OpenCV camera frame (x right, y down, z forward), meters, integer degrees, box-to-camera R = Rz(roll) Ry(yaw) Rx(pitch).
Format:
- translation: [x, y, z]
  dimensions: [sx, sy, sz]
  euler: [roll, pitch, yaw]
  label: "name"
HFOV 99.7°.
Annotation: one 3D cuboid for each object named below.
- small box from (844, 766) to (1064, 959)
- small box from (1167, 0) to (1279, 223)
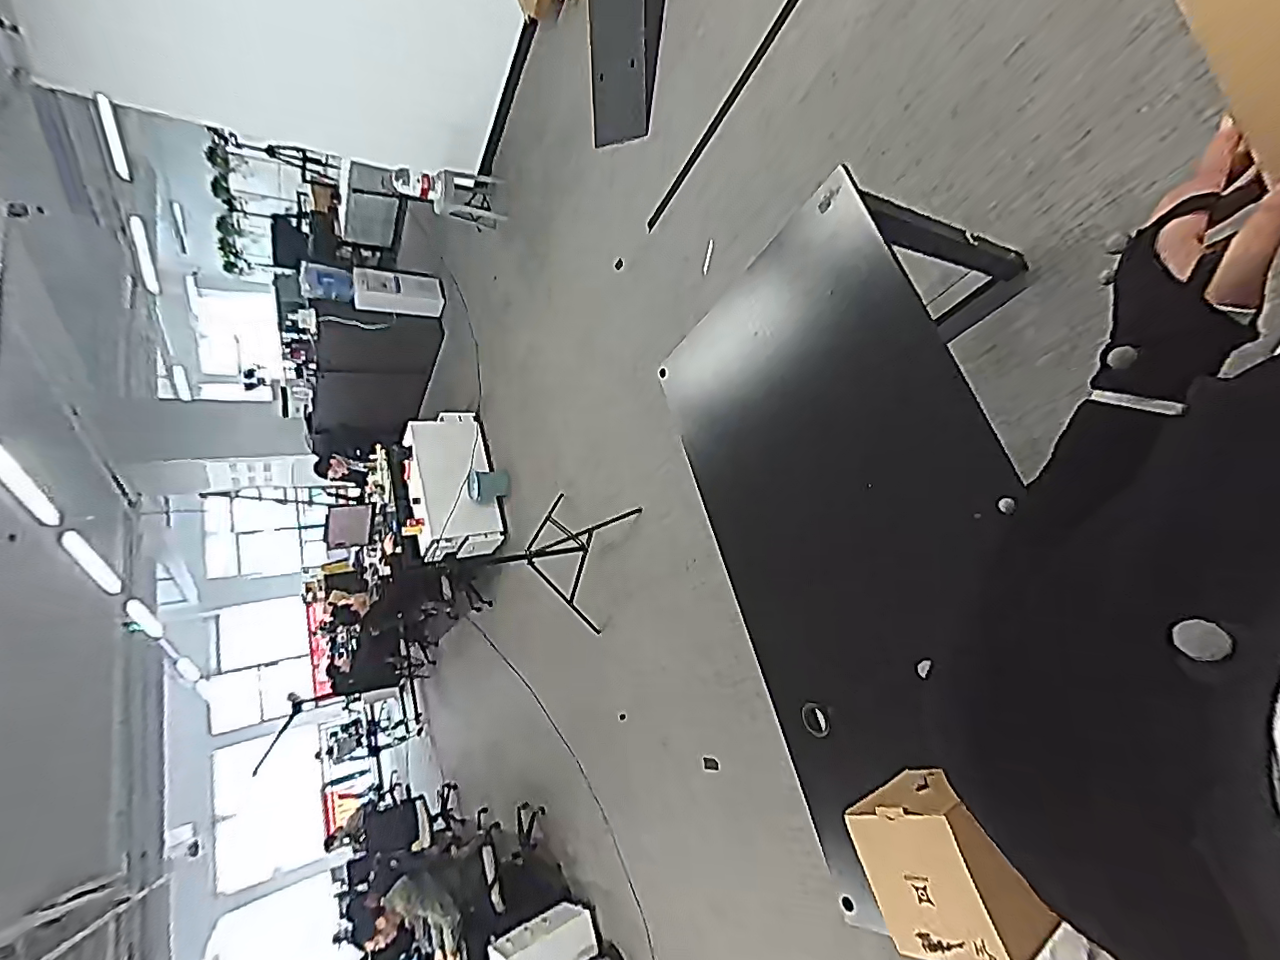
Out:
- translation: [0.425, 0.510, 0.743]
  dimensions: [0.168, 0.176, 0.179]
  euler: [-43, 58, 49]
  label: "small box"
- translation: [0.480, -0.273, 0.328]
  dimensions: [0.168, 0.176, 0.179]
  euler: [-28, 71, 53]
  label: "small box"
